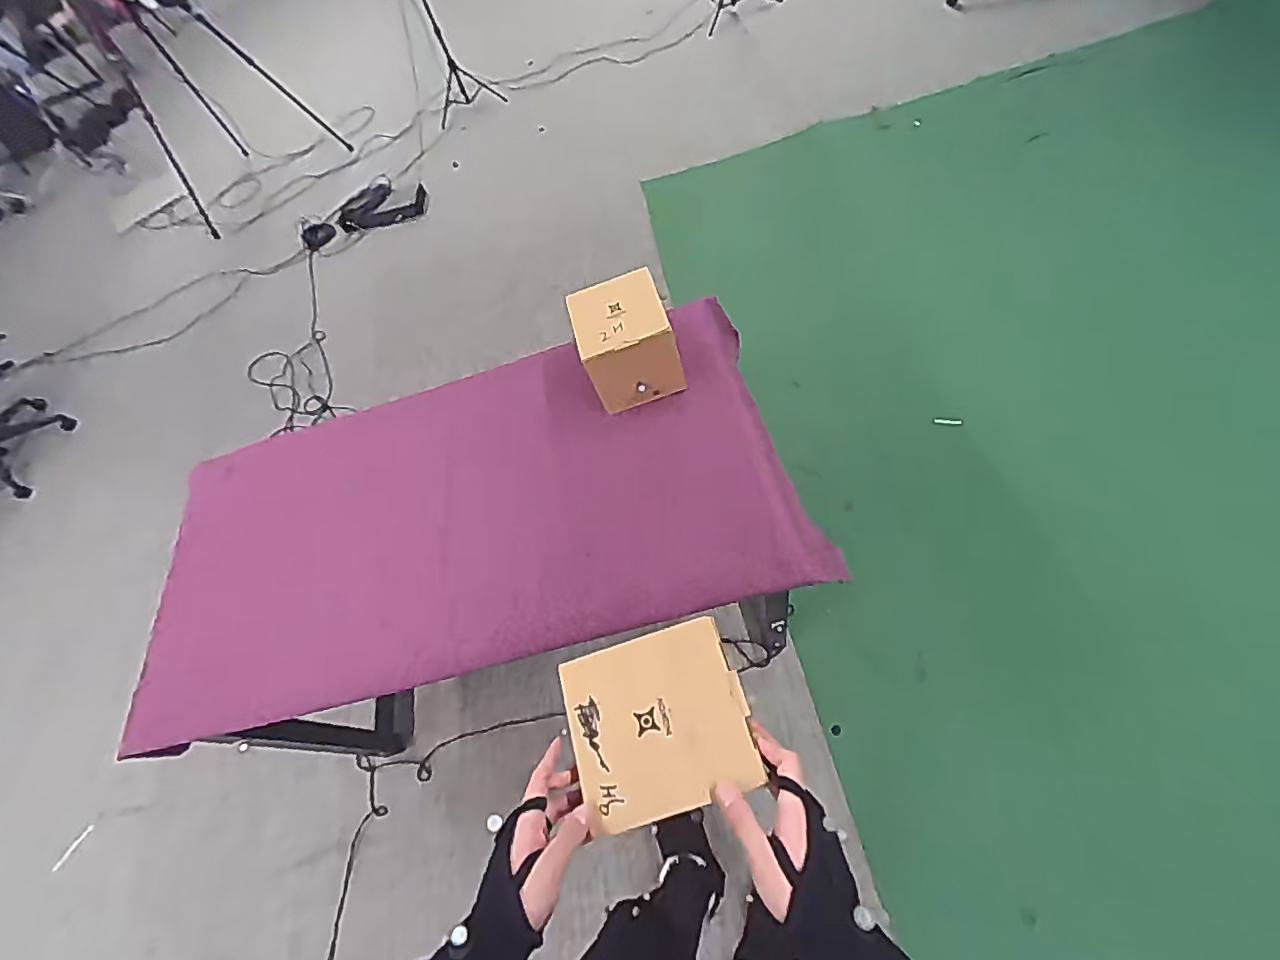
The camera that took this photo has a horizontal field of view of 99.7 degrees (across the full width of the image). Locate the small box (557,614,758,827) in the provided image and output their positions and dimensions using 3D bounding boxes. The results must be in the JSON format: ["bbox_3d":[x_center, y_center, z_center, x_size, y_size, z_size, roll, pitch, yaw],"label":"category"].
[{"bbox_3d":[0.024,0.272,0.618,0.179,0.176,0.168,-19,60,3],"label":"small box"}]

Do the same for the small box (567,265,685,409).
[{"bbox_3d":[-0.024,-0.267,1.035,0.168,0.176,0.179,-19,59,7],"label":"small box"}]
